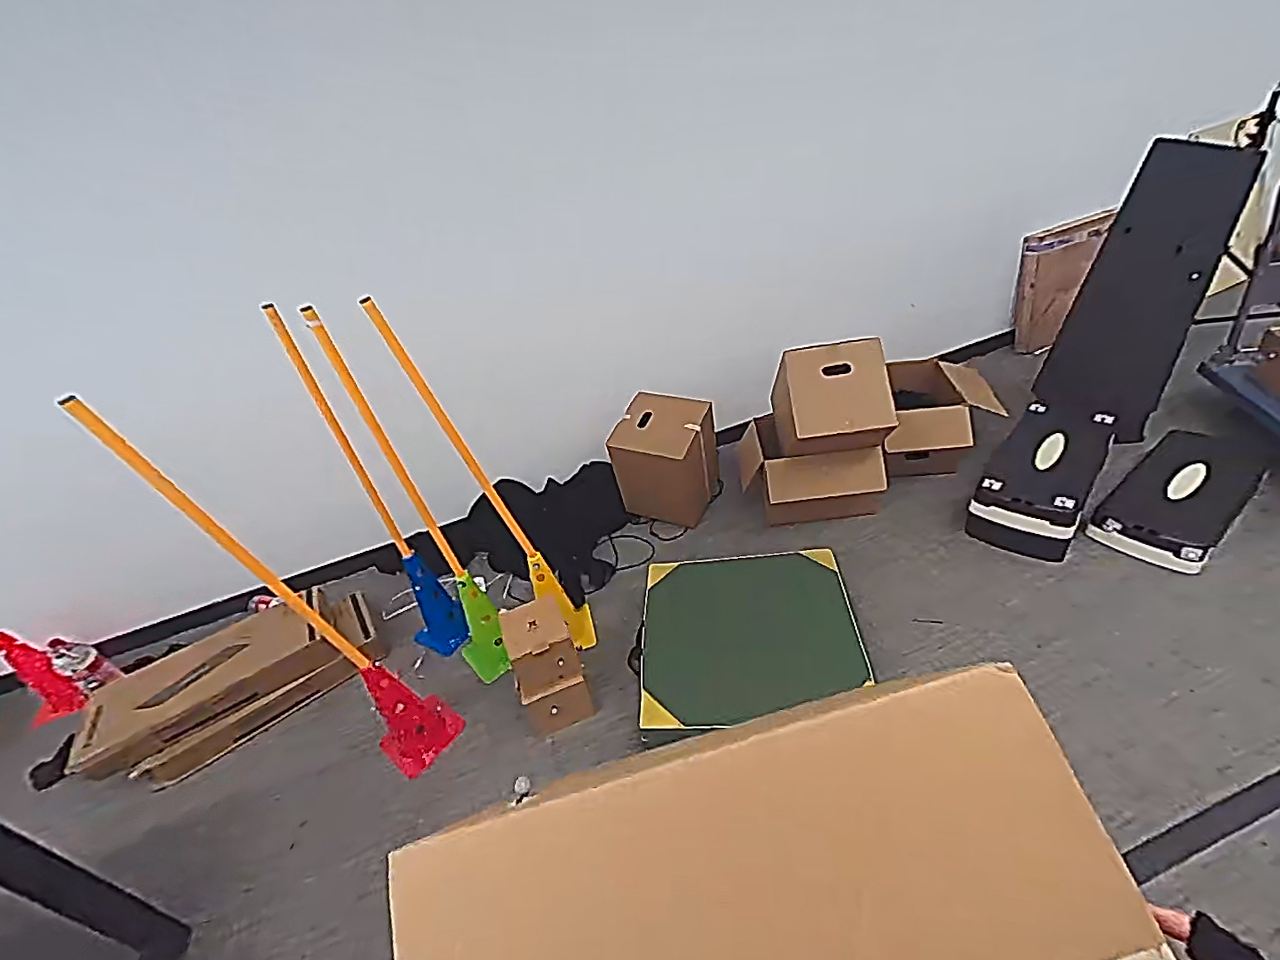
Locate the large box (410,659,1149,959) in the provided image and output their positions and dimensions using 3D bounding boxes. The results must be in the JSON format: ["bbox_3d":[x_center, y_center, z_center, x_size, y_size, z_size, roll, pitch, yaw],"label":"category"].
[{"bbox_3d":[0.097,0.367,0.424,0.408,0.320,0.320,-17,67,0],"label":"large box"}]
